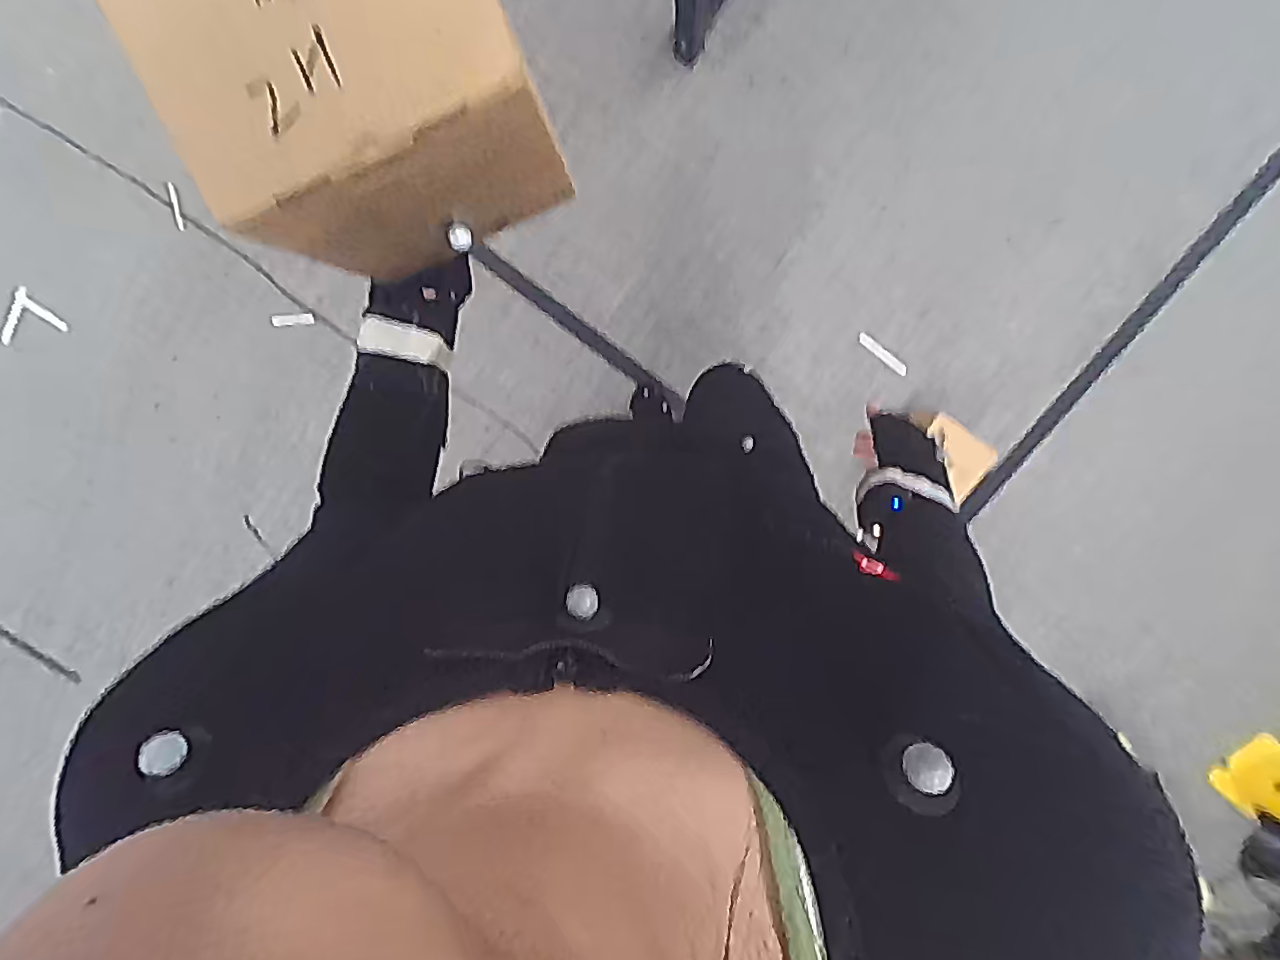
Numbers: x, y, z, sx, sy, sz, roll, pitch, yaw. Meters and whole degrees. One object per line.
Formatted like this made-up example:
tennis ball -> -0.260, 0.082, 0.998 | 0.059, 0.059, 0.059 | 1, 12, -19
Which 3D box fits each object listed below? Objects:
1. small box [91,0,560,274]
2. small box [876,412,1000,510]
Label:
small box -> -0.162, -0.243, 0.319 | 0.168, 0.176, 0.179 | -18, 102, 7
small box -> 0.723, -0.055, 1.339 | 0.179, 0.176, 0.168 | 35, 102, -5
